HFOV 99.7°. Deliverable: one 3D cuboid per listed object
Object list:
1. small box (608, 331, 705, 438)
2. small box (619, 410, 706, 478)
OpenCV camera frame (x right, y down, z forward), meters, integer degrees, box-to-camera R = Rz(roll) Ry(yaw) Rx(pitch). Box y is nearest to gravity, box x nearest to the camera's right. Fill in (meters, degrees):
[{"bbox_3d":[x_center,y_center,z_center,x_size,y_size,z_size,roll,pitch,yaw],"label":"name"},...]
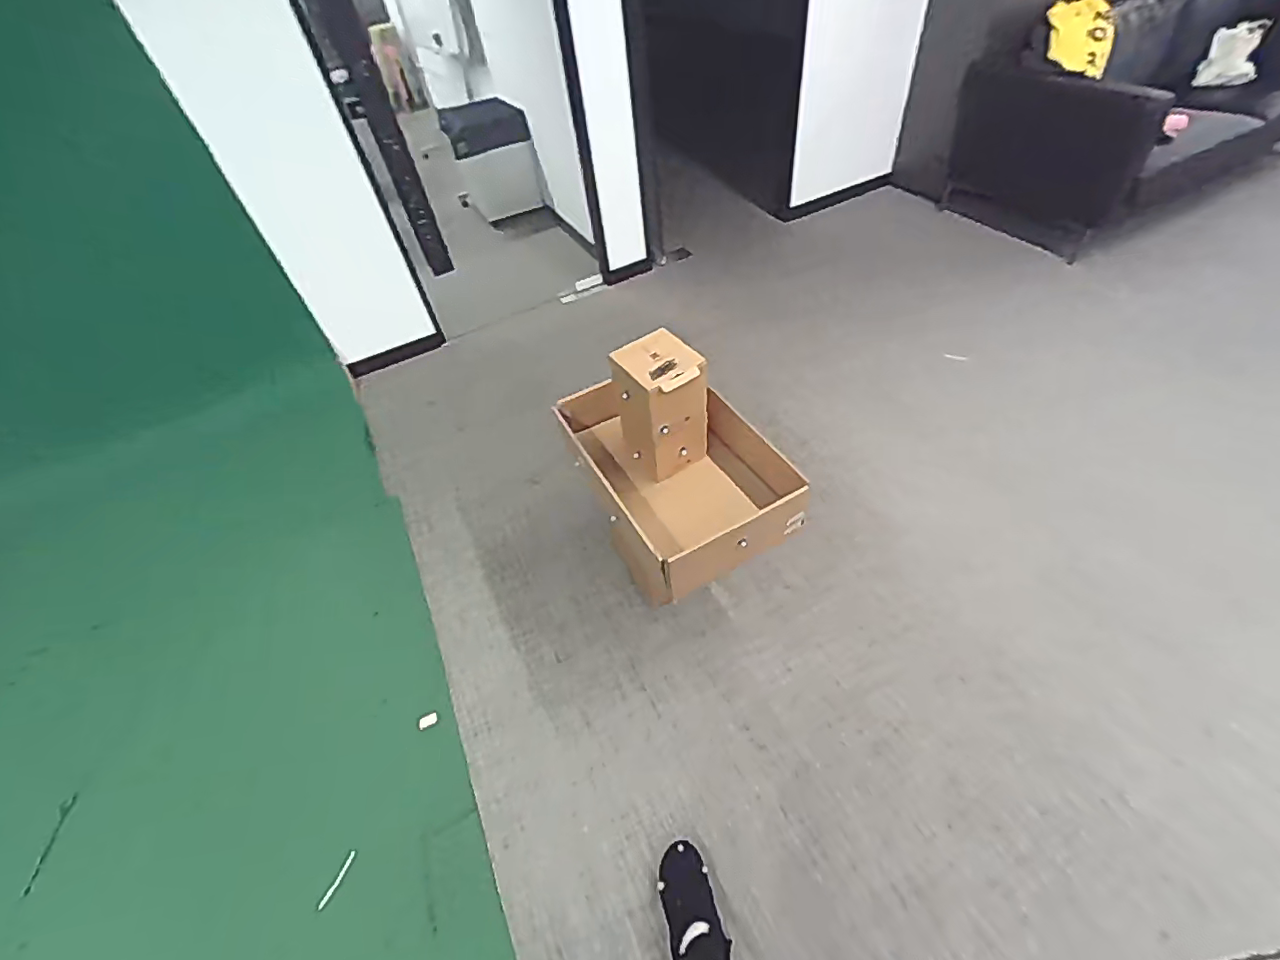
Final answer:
[{"bbox_3d":[0.044,-0.226,1.322,0.168,0.176,0.179,-30,53,-18],"label":"small box"},{"bbox_3d":[0.061,-0.129,1.454,0.168,0.176,0.179,-28,54,-17],"label":"small box"}]
